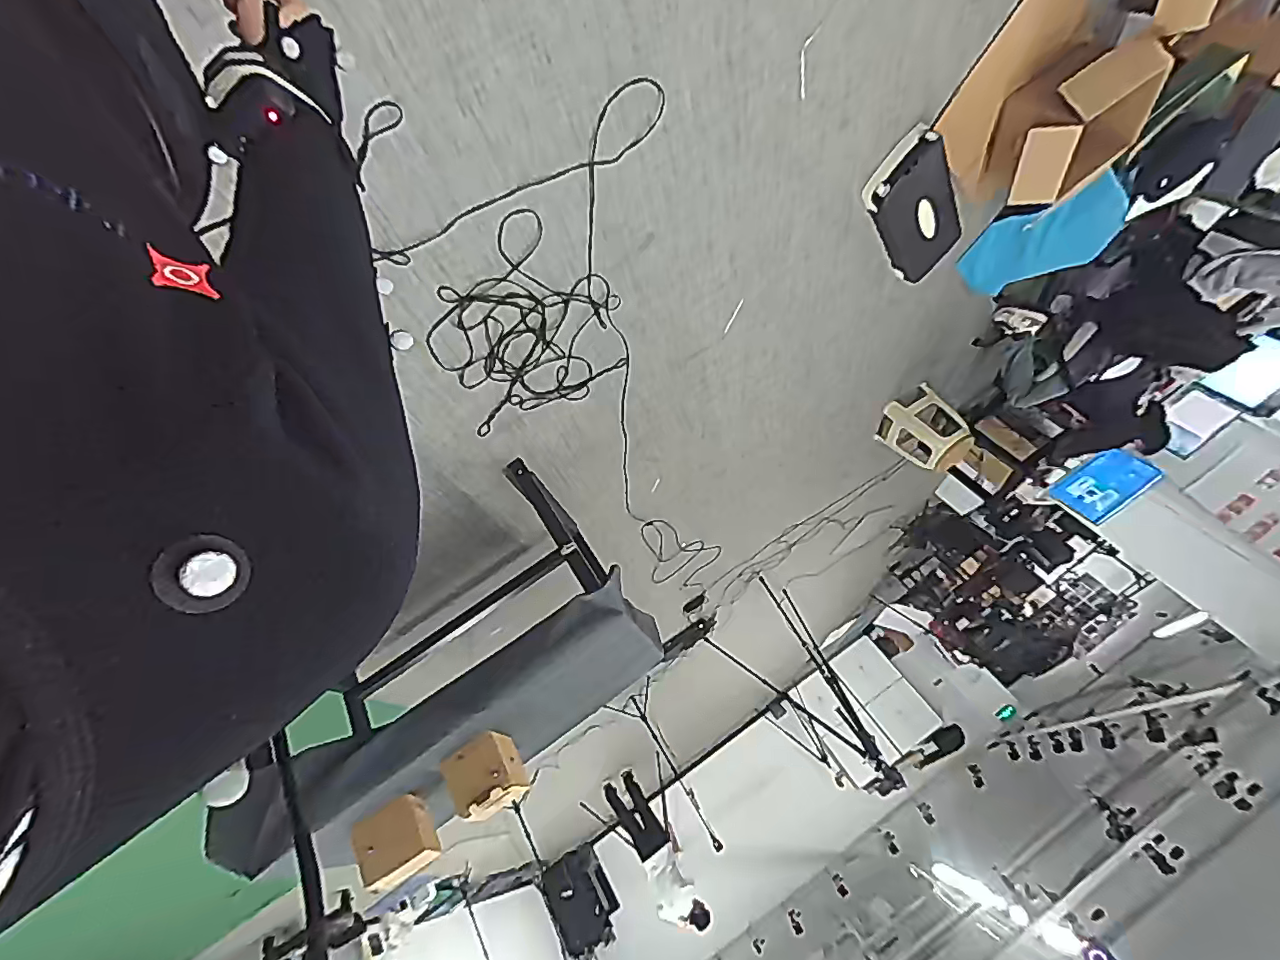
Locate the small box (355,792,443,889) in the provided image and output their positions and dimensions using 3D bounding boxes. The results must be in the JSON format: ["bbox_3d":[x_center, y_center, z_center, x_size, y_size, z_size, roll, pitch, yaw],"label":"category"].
[{"bbox_3d":[-0.715,1.062,1.595,0.179,0.176,0.168,-28,148,-18],"label":"small box"}]
